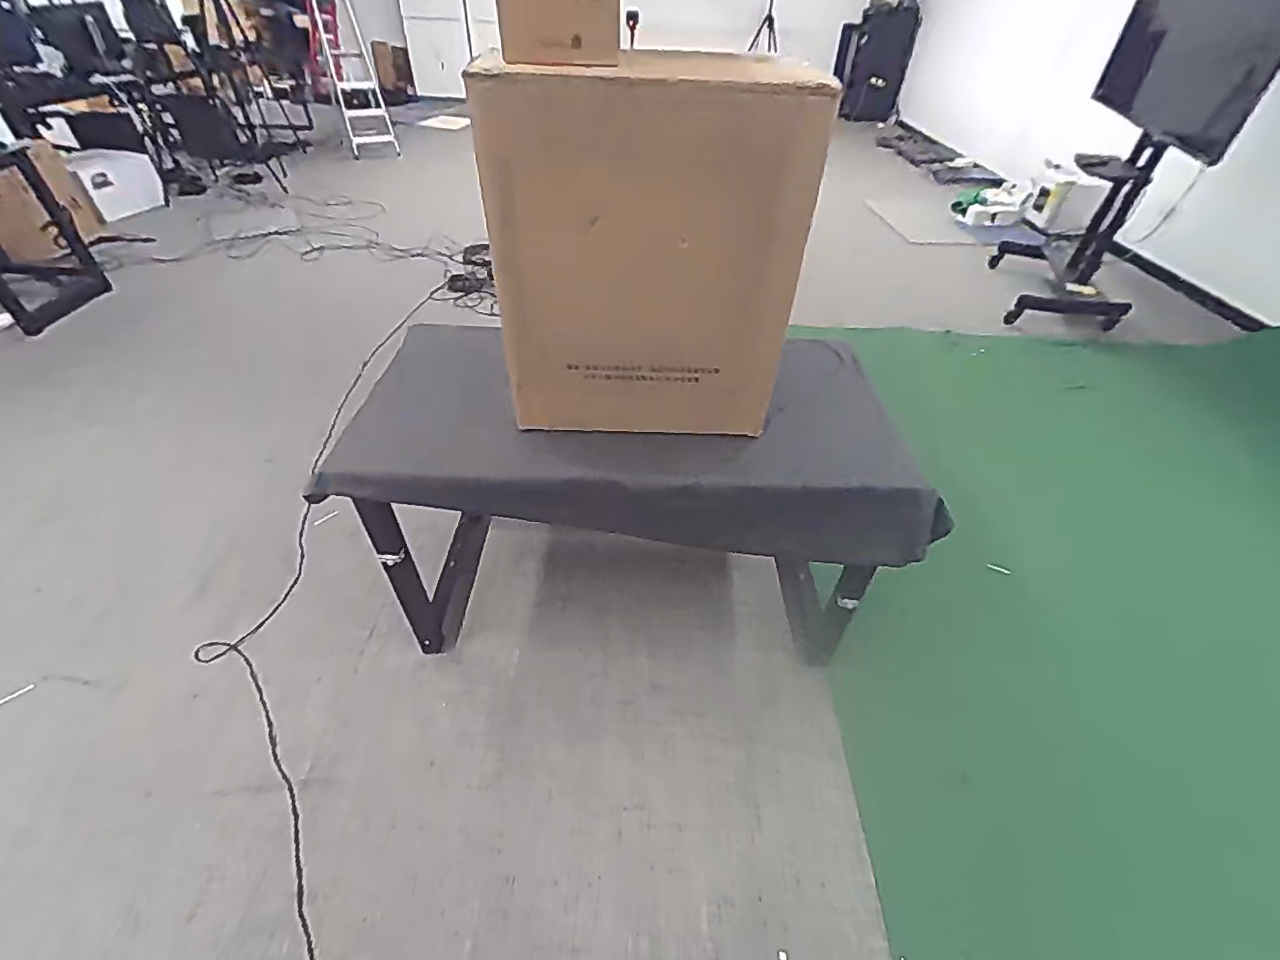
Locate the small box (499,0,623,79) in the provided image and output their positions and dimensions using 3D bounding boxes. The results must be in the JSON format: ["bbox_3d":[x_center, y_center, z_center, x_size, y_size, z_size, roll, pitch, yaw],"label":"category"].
[{"bbox_3d":[-0.108,-0.693,0.777,0.168,0.176,0.179,1,43,-4],"label":"small box"}]
